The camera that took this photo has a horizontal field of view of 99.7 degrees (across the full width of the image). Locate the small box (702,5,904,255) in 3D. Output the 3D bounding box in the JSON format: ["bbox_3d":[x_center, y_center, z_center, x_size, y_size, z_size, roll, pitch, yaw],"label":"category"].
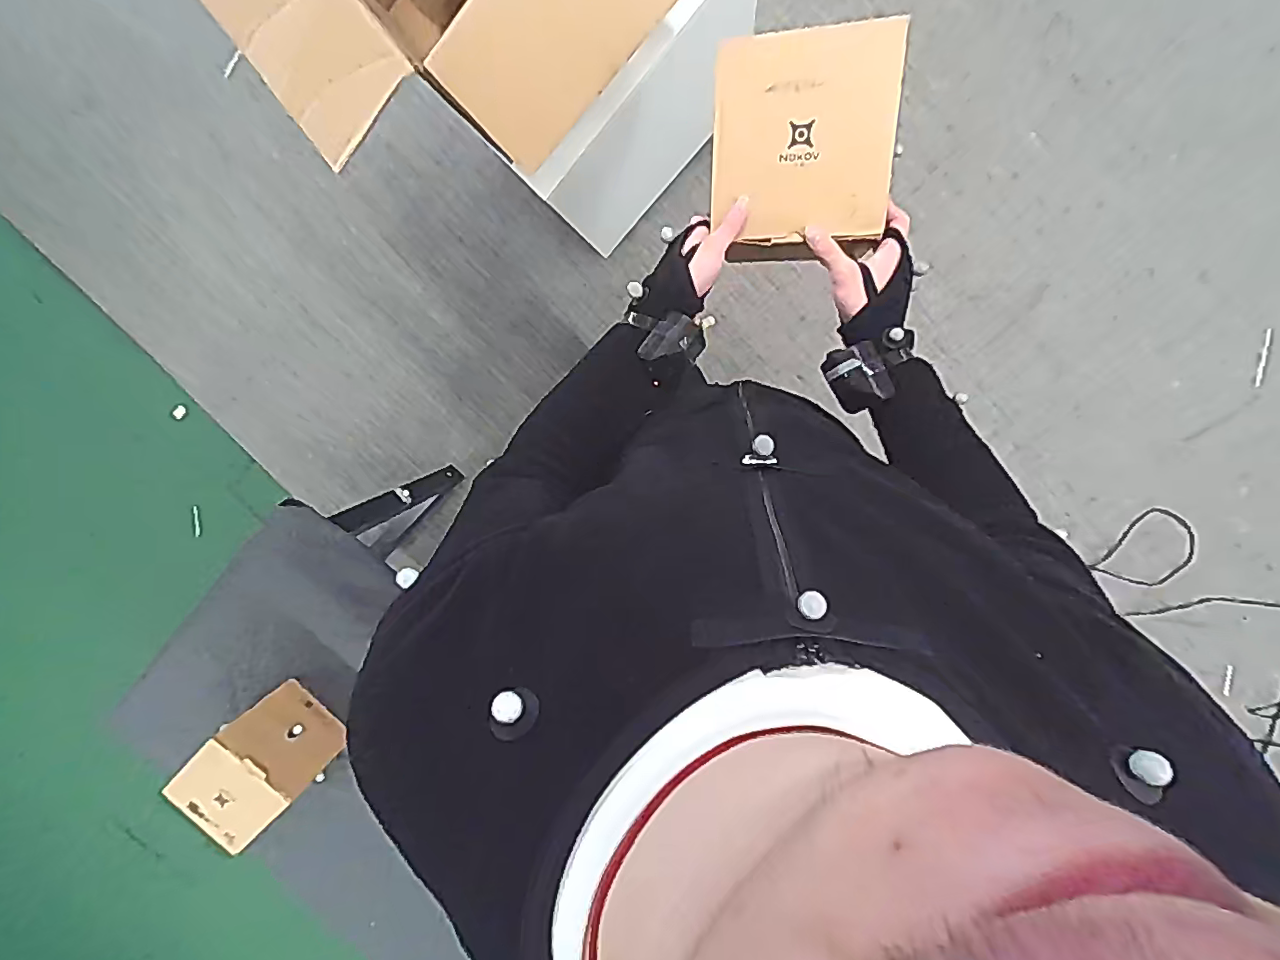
[{"bbox_3d":[0.160,-0.335,0.562,0.168,0.176,0.179,3,105,14],"label":"small box"}]

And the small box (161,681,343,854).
[{"bbox_3d":[-0.670,0.499,0.962,0.179,0.176,0.168,-43,94,13],"label":"small box"}]
